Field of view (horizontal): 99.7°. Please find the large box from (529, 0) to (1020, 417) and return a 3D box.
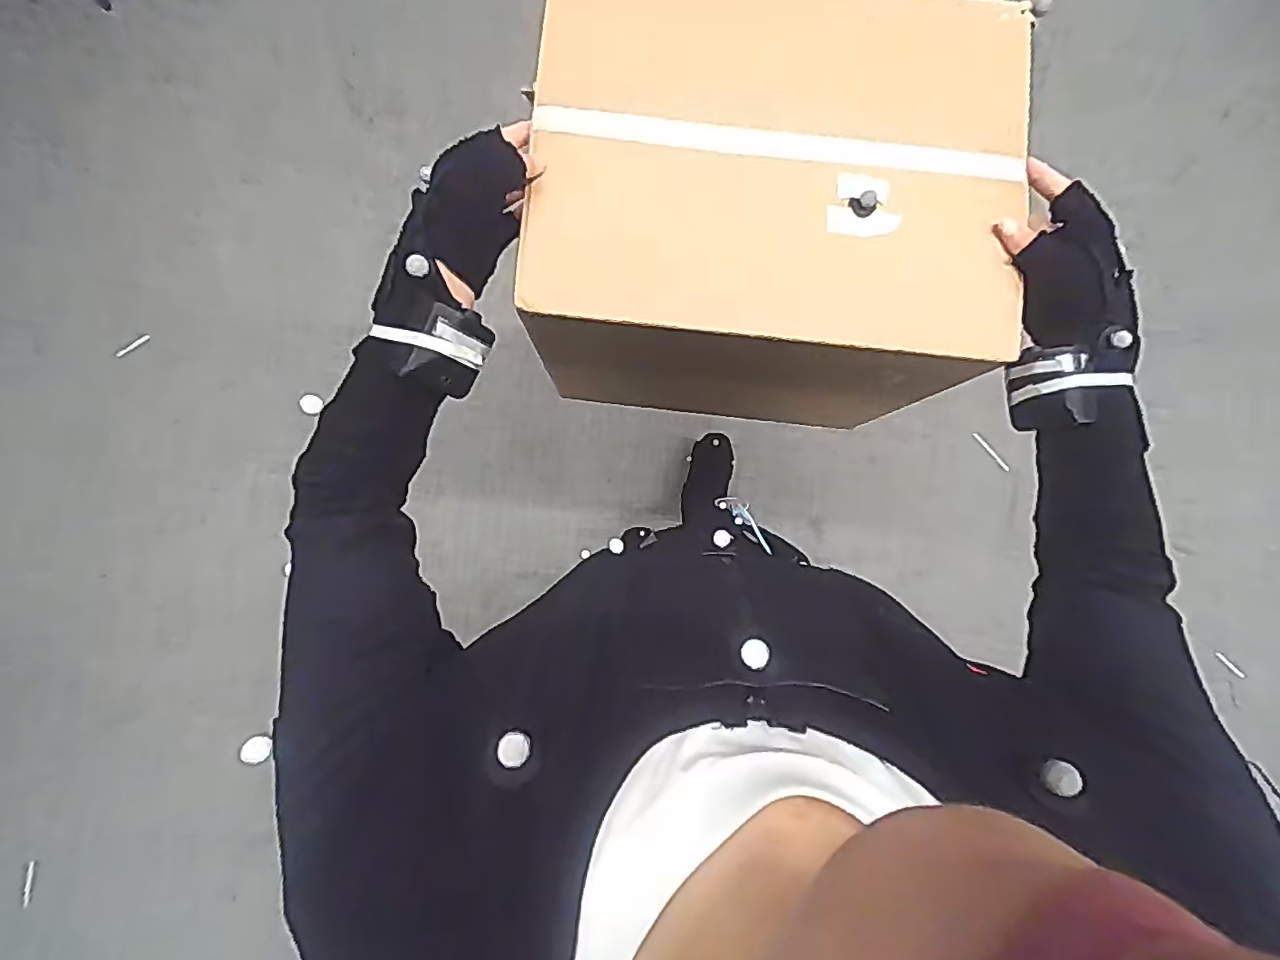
[{"bbox_3d":[0.113,-0.263,0.600,0.408,0.320,0.320,6,86,-1],"label":"large box"}]
